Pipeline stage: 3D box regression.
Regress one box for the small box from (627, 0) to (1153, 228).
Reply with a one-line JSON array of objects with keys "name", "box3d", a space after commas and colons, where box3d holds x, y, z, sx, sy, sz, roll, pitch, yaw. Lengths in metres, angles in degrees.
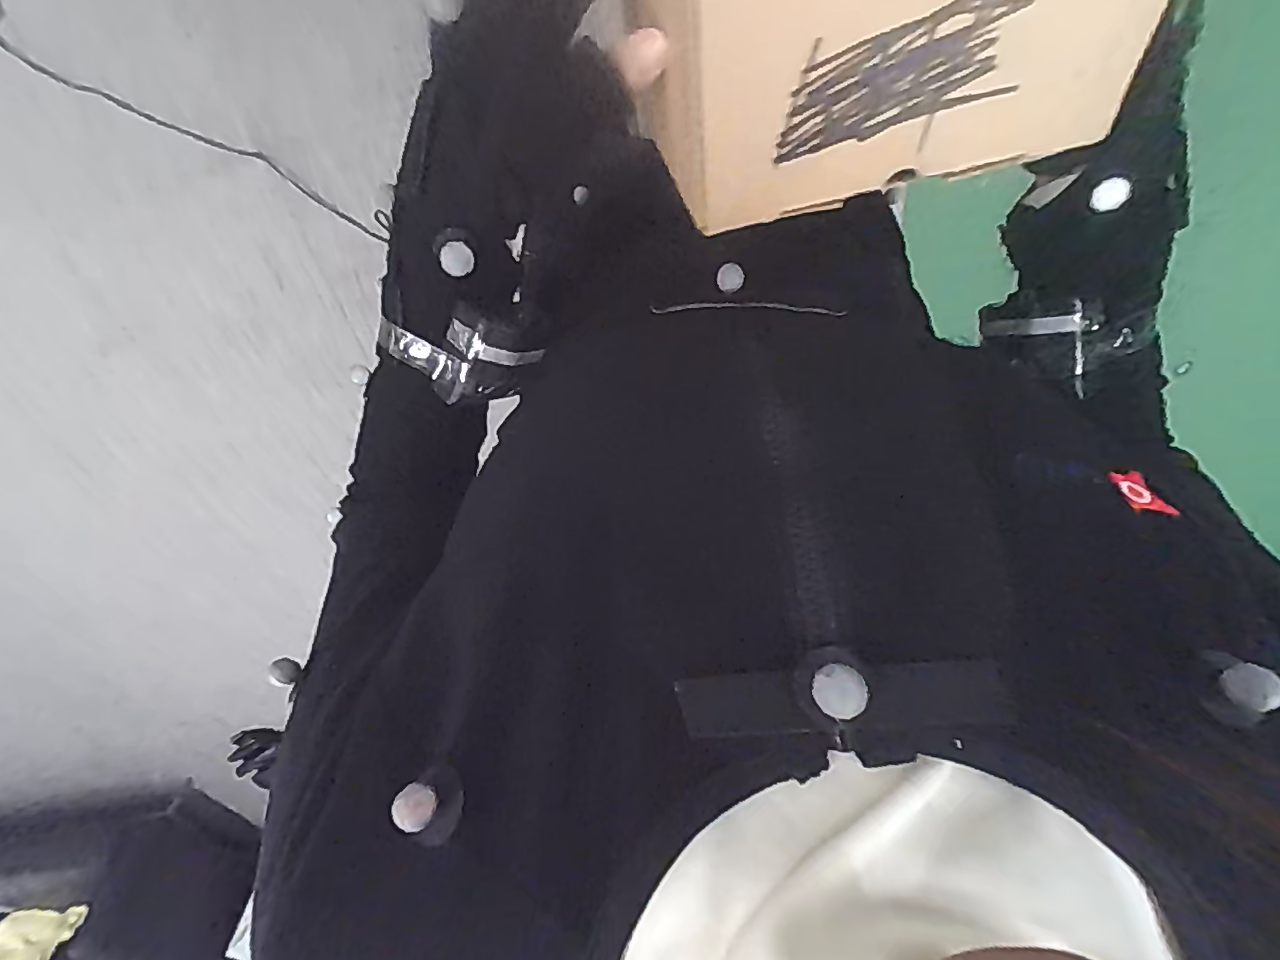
[{"name": "small box", "box3d": [0.082, -0.236, 0.211, 0.168, 0.176, 0.179, -13, 142, -1]}]
